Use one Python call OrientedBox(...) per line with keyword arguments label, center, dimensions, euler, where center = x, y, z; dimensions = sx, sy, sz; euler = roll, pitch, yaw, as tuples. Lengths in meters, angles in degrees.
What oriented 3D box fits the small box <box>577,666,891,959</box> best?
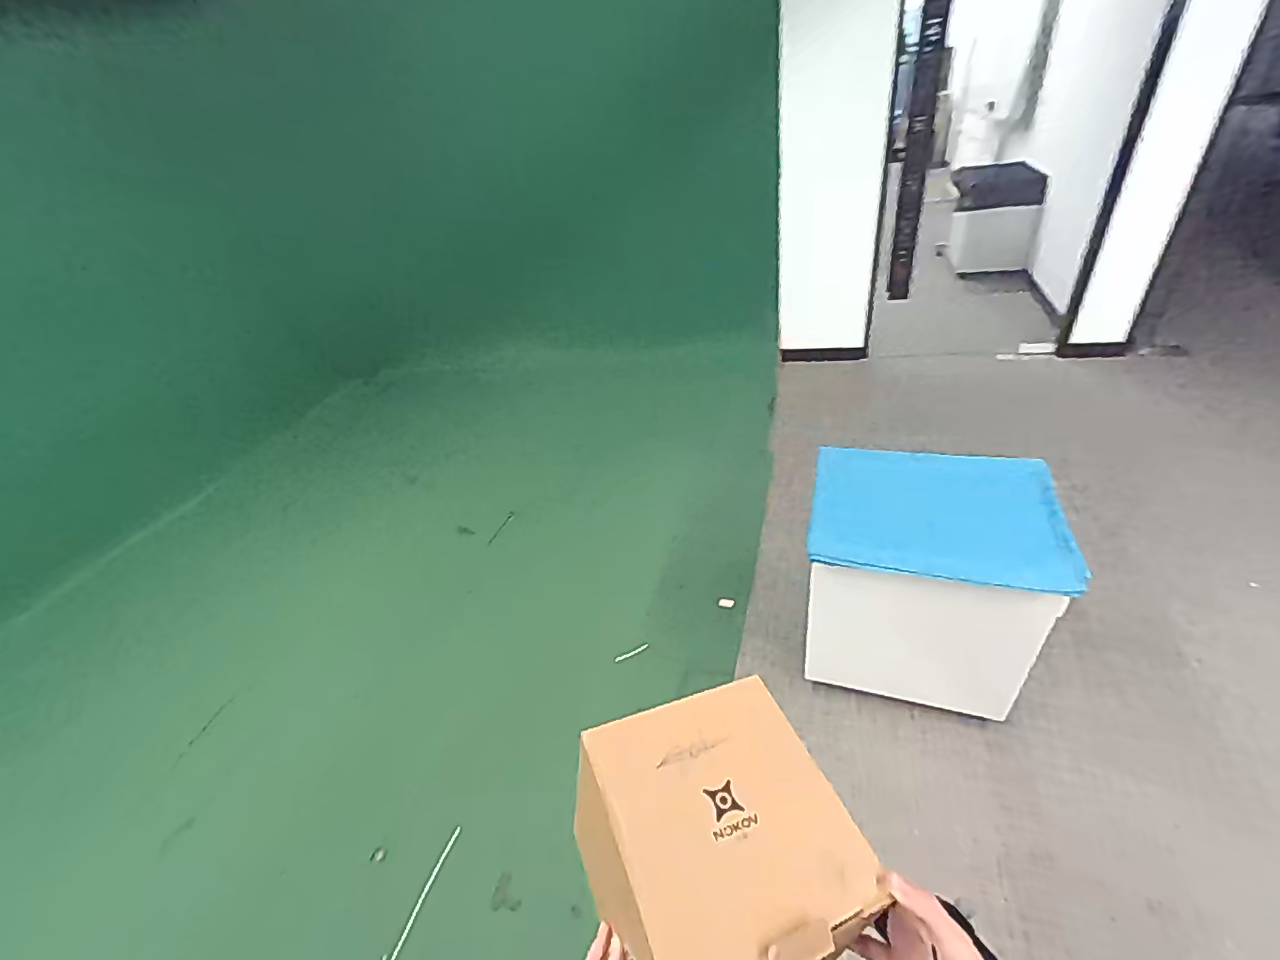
OrientedBox(label="small box", center=(0.051, 0.286, 0.427), dimensions=(0.168, 0.176, 0.179), euler=(-7, 37, -20))
